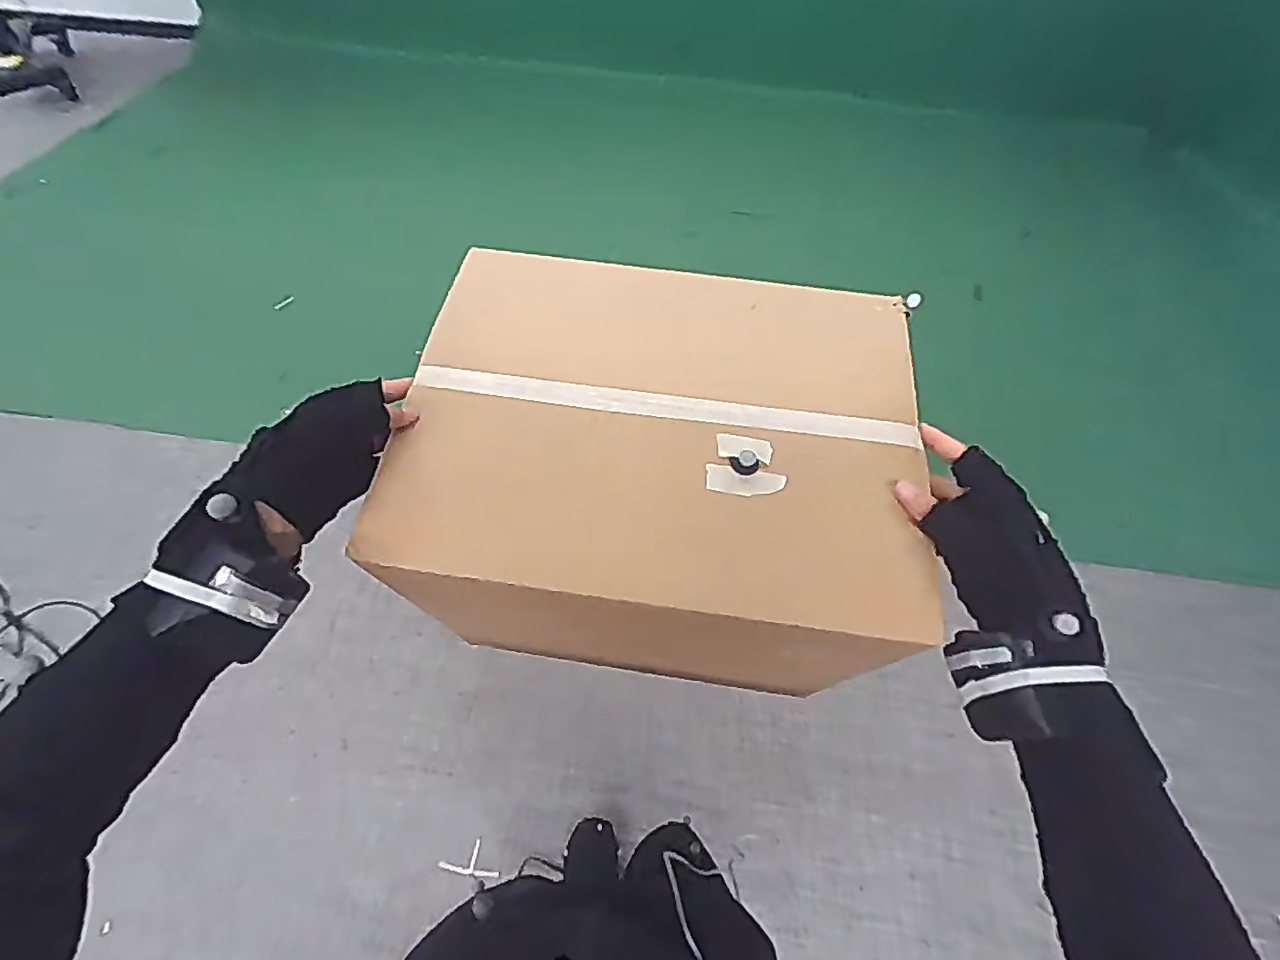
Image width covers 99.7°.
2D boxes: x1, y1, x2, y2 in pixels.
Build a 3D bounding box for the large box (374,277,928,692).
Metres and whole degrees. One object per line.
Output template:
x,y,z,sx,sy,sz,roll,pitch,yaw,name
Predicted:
0.017,0.024,0.580,0.408,0.320,0.320,7,62,3,large box
